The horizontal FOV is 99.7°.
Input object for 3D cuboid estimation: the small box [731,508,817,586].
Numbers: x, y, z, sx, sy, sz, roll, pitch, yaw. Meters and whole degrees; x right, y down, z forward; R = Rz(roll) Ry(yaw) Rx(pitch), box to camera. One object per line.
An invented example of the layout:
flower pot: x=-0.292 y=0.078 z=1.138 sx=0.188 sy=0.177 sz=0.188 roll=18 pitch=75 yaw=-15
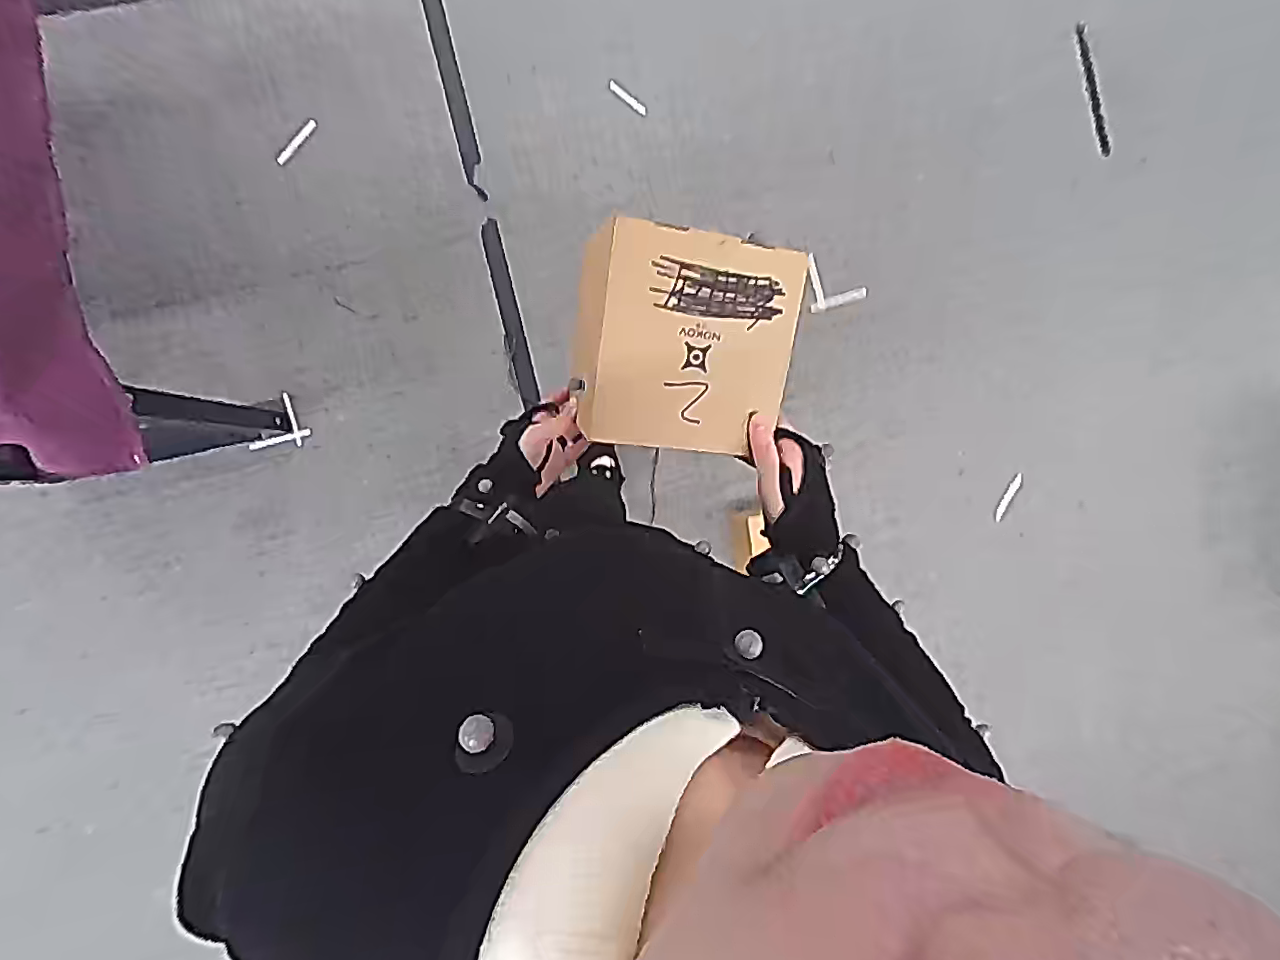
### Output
small box: x=0.356 y=0.173 z=1.466 sx=0.168 sy=0.176 sz=0.179 roll=-9 pitch=93 yaw=-7
